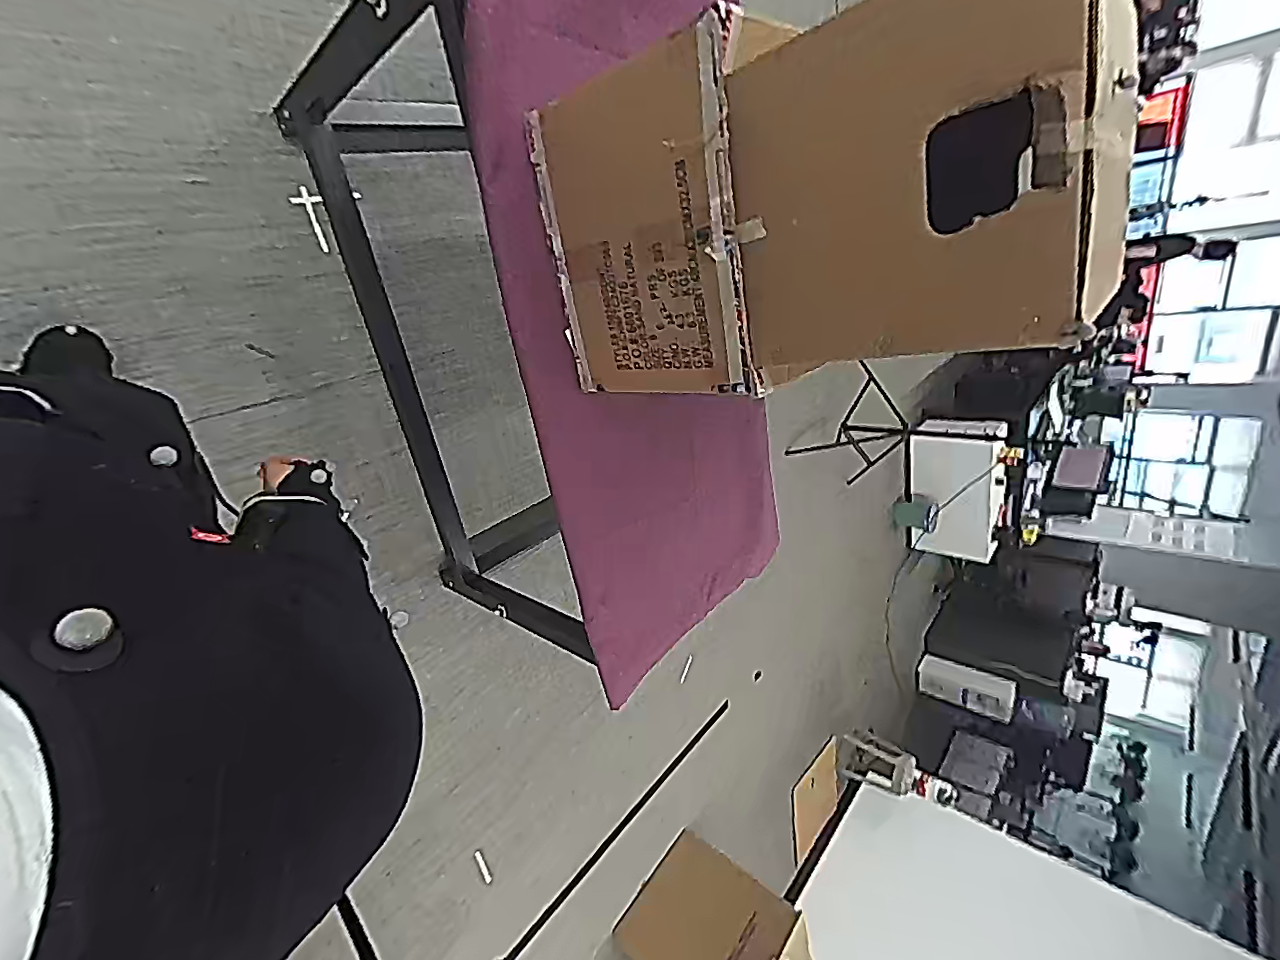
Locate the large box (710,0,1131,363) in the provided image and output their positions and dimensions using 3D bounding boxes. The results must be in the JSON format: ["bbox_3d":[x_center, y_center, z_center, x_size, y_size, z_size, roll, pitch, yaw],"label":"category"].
[{"bbox_3d":[0.339,-0.338,0.632,0.408,0.320,0.320,-28,113,-40],"label":"large box"}]
